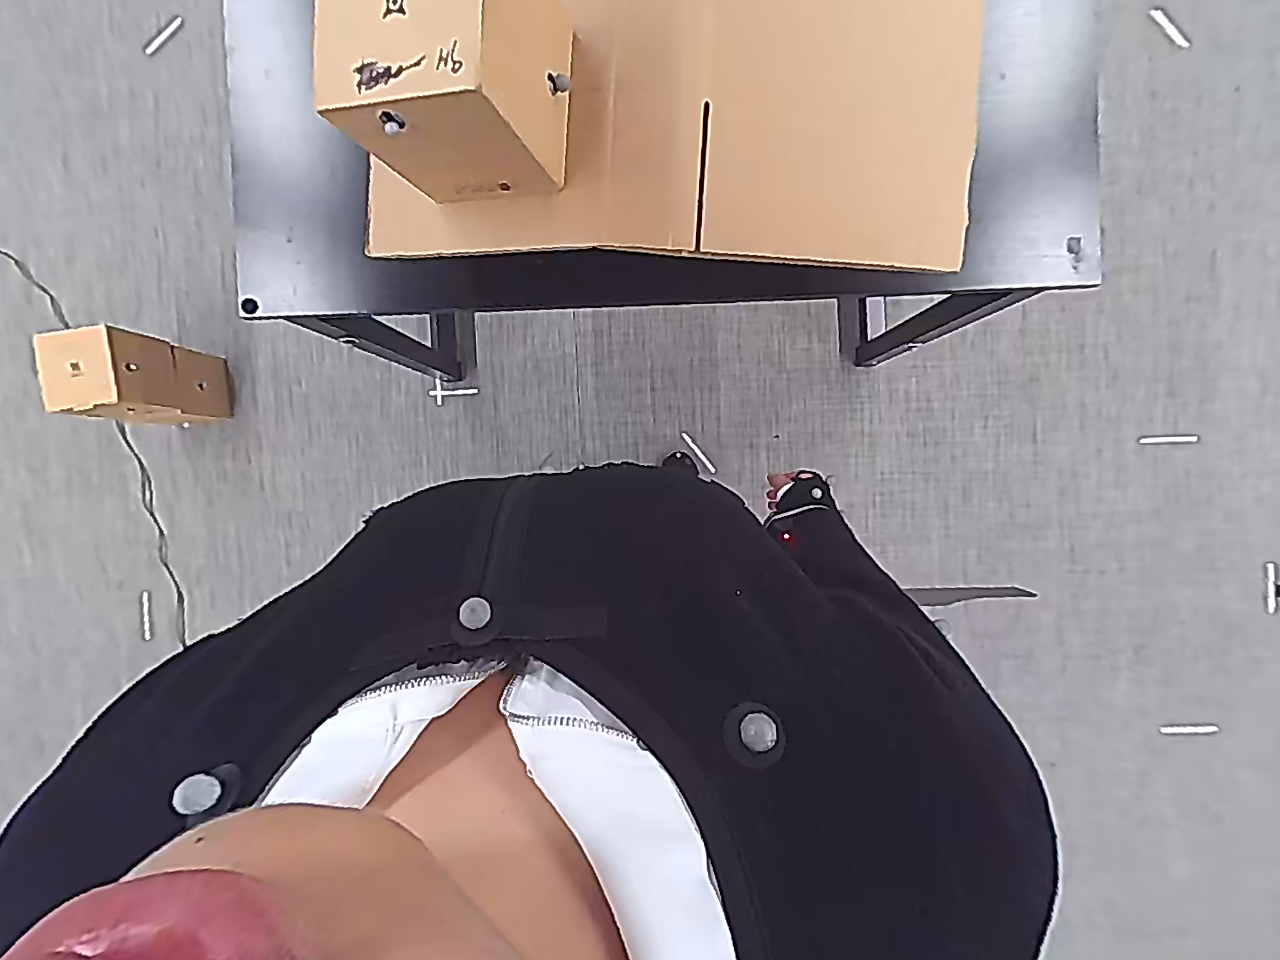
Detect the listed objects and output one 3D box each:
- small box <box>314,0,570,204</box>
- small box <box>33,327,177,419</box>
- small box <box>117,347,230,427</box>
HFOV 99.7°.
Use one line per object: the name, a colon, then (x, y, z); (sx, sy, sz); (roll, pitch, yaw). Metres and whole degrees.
small box: (-0.176, -0.398, 0.522); (0.168, 0.176, 0.179); (4, 91, 16)
small box: (-1.235, -0.241, 1.263); (0.168, 0.176, 0.179); (-9, 90, 0)
small box: (-1.231, -0.239, 1.426); (0.168, 0.176, 0.179); (-6, 92, 1)
